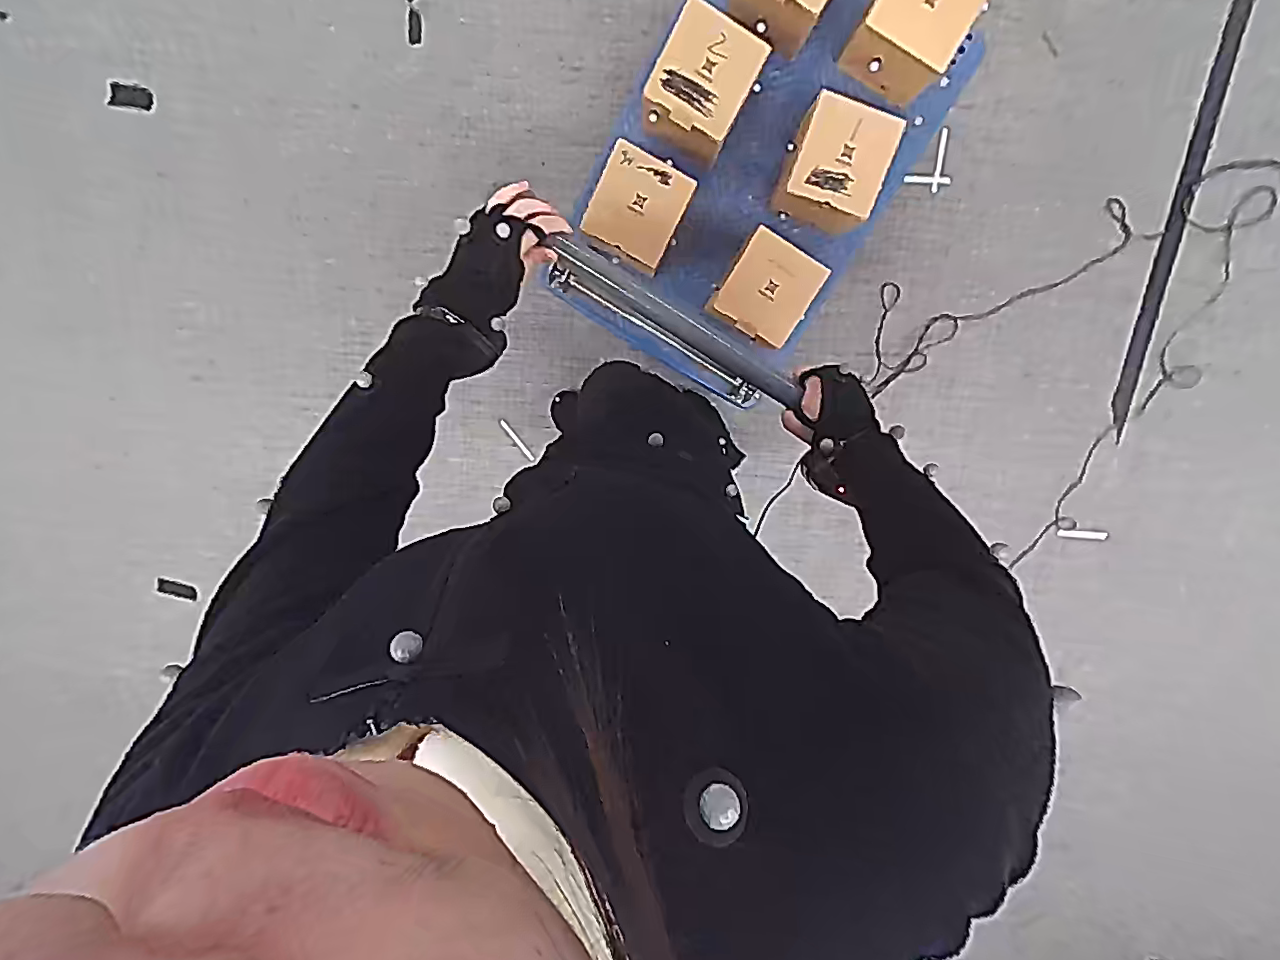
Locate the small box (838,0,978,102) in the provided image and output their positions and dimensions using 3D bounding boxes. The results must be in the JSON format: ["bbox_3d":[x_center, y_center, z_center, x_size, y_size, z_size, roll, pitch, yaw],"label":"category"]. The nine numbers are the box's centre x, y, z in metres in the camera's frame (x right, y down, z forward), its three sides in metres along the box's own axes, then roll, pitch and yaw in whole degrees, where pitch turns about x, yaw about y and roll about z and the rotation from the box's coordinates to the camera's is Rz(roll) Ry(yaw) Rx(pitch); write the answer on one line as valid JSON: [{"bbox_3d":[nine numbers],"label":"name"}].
[{"bbox_3d":[0.494,-0.853,1.002,0.168,0.176,0.179,27,104,-7],"label":"small box"}]

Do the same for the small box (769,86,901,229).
[{"bbox_3d":[0.370,-0.620,1.067,0.168,0.176,0.179,19,104,-4],"label":"small box"}]

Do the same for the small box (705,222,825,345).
[{"bbox_3d":[0.249,-0.400,1.130,0.168,0.176,0.179,30,103,-8],"label":"small box"}]

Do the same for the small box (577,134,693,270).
[{"bbox_3d":[-0.009,-0.544,1.091,0.168,0.176,0.179,27,104,-7],"label":"small box"}]

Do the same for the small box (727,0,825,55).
[{"bbox_3d":[0.276,-0.937,0.979,0.168,0.176,0.179,32,104,-8],"label":"small box"}]
